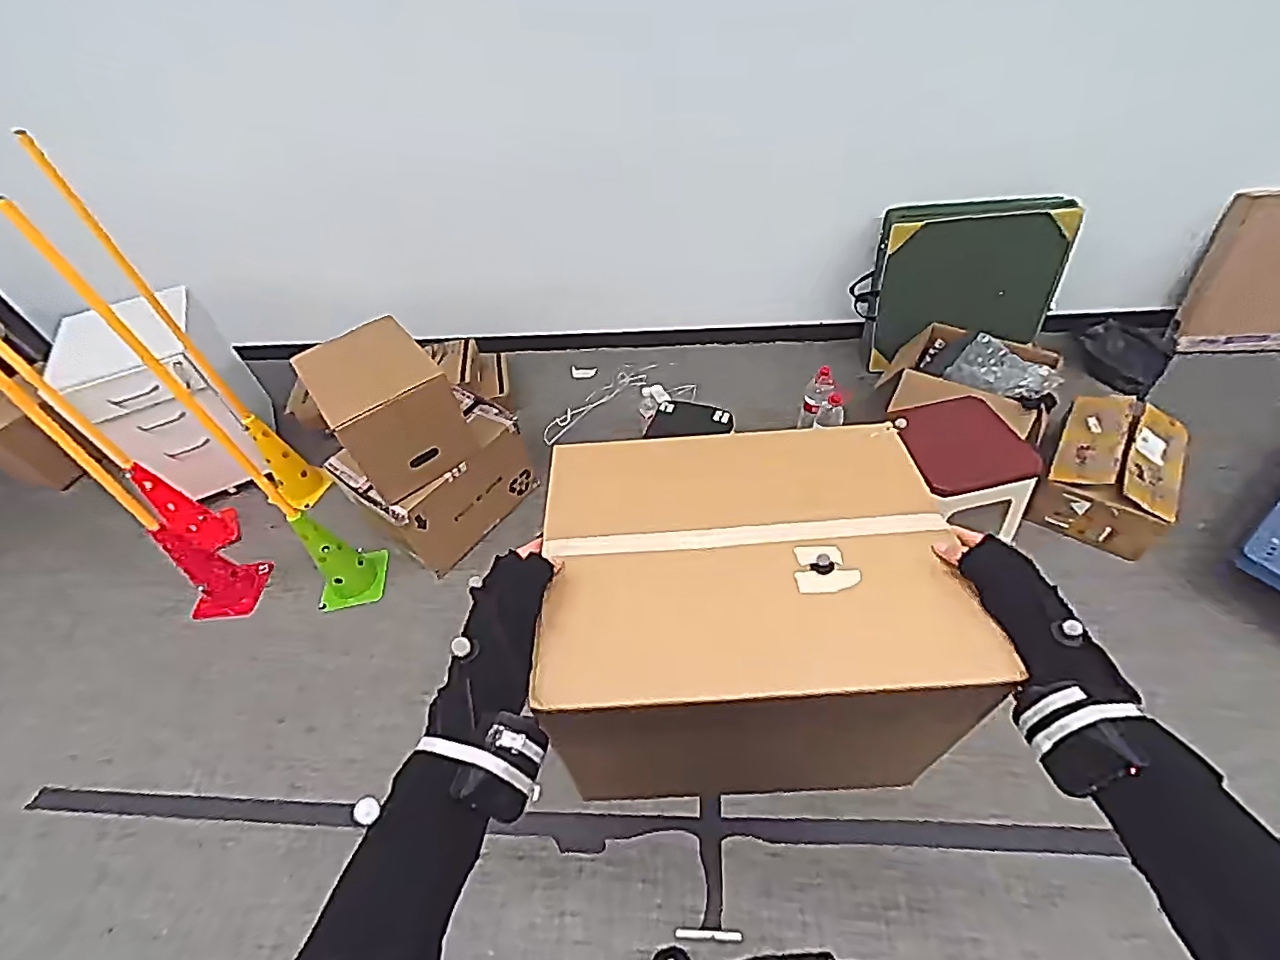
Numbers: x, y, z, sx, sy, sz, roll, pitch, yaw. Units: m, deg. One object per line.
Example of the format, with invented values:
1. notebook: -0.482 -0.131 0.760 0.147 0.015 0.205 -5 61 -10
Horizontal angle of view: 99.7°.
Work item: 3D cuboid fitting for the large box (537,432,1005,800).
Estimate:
1. large box: 0.110 0.168 0.660 0.408 0.320 0.320 -4 47 1
